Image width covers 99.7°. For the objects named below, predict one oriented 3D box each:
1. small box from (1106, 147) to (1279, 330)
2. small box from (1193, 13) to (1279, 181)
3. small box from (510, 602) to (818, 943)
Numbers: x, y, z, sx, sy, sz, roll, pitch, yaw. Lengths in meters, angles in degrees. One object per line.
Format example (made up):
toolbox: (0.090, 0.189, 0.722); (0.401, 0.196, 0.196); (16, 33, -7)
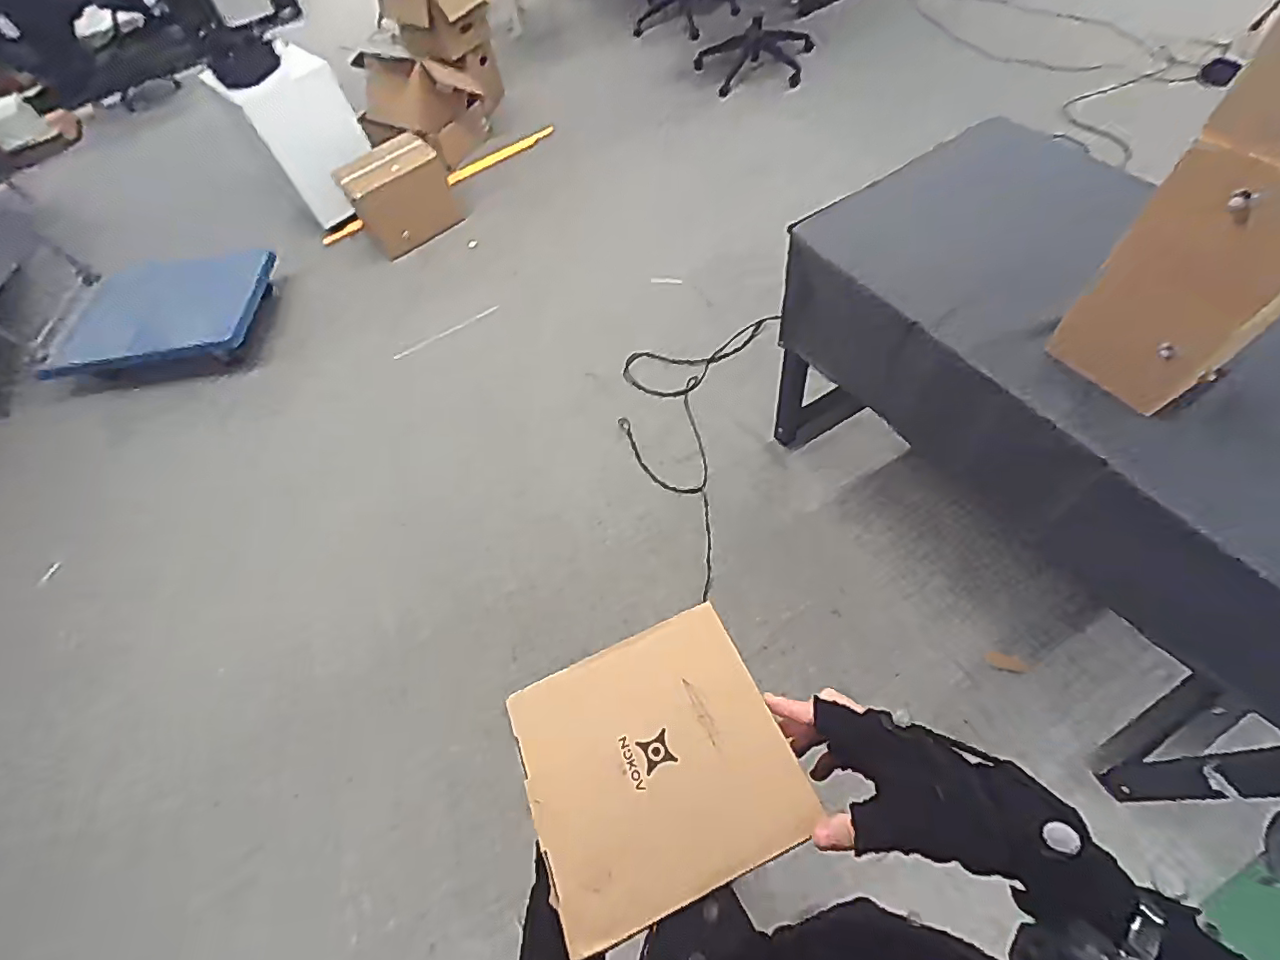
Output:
small box: (0.738, -0.307, 0.650); (0.168, 0.176, 0.179); (-30, 59, -11)
small box: (0.721, -0.398, 0.515); (0.168, 0.176, 0.179); (-28, 59, -10)
small box: (0.020, 0.233, 0.436); (0.179, 0.176, 0.168); (-23, 52, -6)
